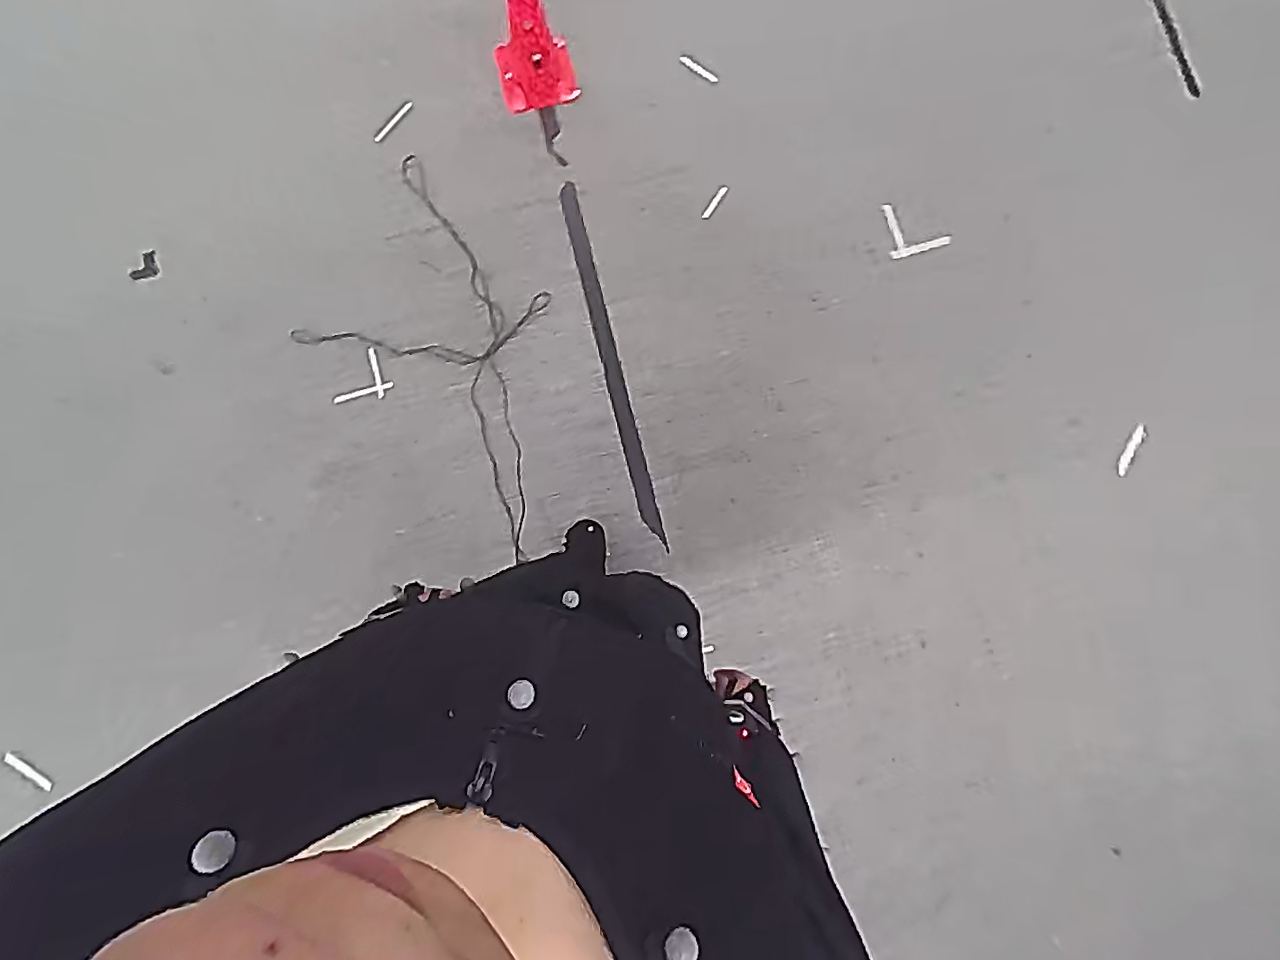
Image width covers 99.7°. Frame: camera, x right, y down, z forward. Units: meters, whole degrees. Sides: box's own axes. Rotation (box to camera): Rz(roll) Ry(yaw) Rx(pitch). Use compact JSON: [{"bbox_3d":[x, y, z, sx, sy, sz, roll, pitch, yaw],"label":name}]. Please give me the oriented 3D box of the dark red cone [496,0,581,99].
[{"bbox_3d":[-0.271,-1.147,1.295,0.201,0.394,0.202,-15,86,-2],"label":"dark red cone"}]
